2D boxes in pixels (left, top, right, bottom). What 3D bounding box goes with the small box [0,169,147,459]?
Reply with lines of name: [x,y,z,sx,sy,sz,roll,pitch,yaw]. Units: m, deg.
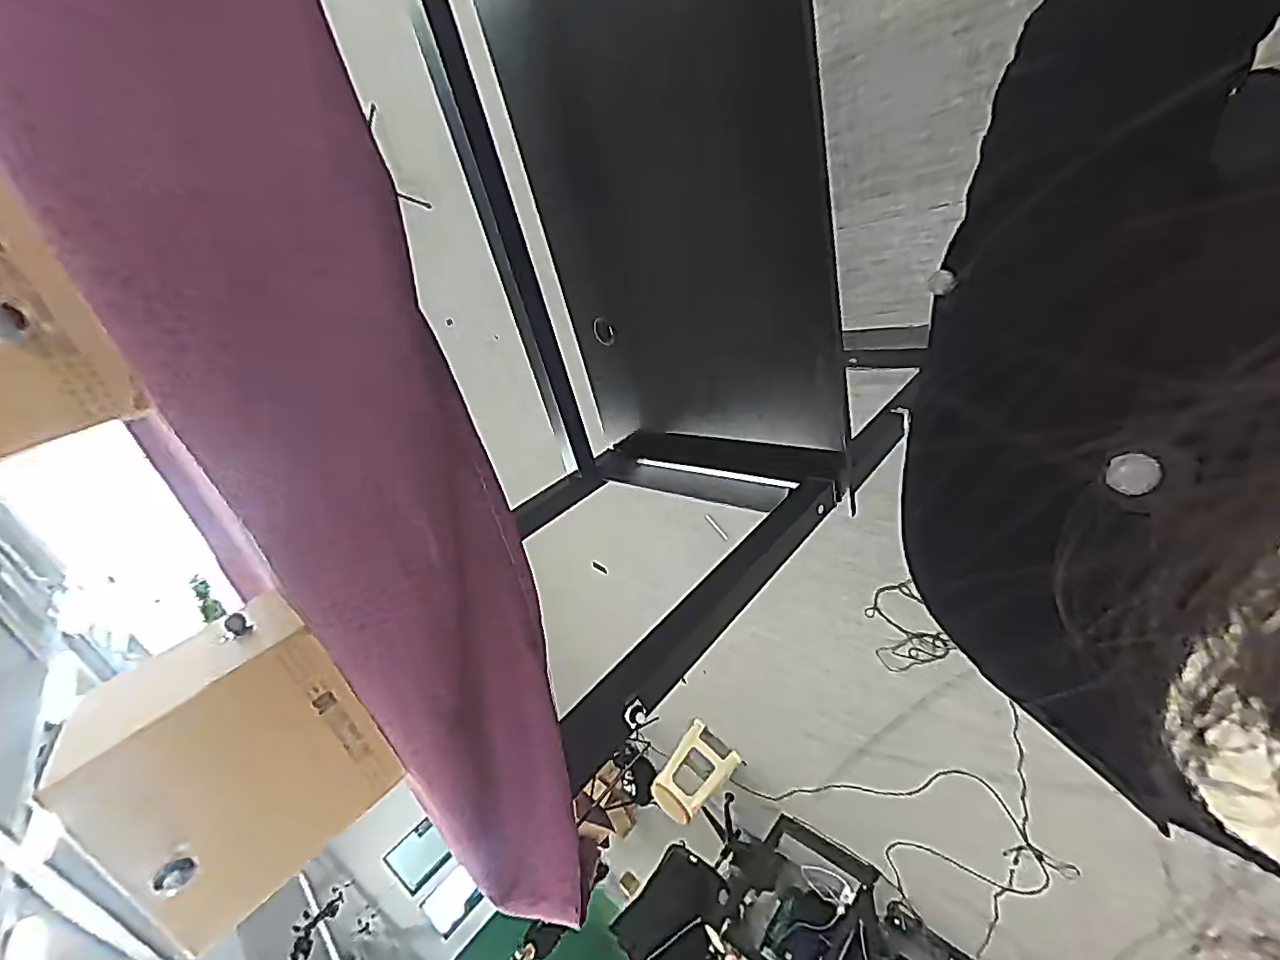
small box: [-0.433,-0.086,0.312,0.179,0.176,0.168,7,124,46]

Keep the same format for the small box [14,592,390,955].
small box: [-0.342,0.216,0.455,0.179,0.176,0.168,2,120,49]
